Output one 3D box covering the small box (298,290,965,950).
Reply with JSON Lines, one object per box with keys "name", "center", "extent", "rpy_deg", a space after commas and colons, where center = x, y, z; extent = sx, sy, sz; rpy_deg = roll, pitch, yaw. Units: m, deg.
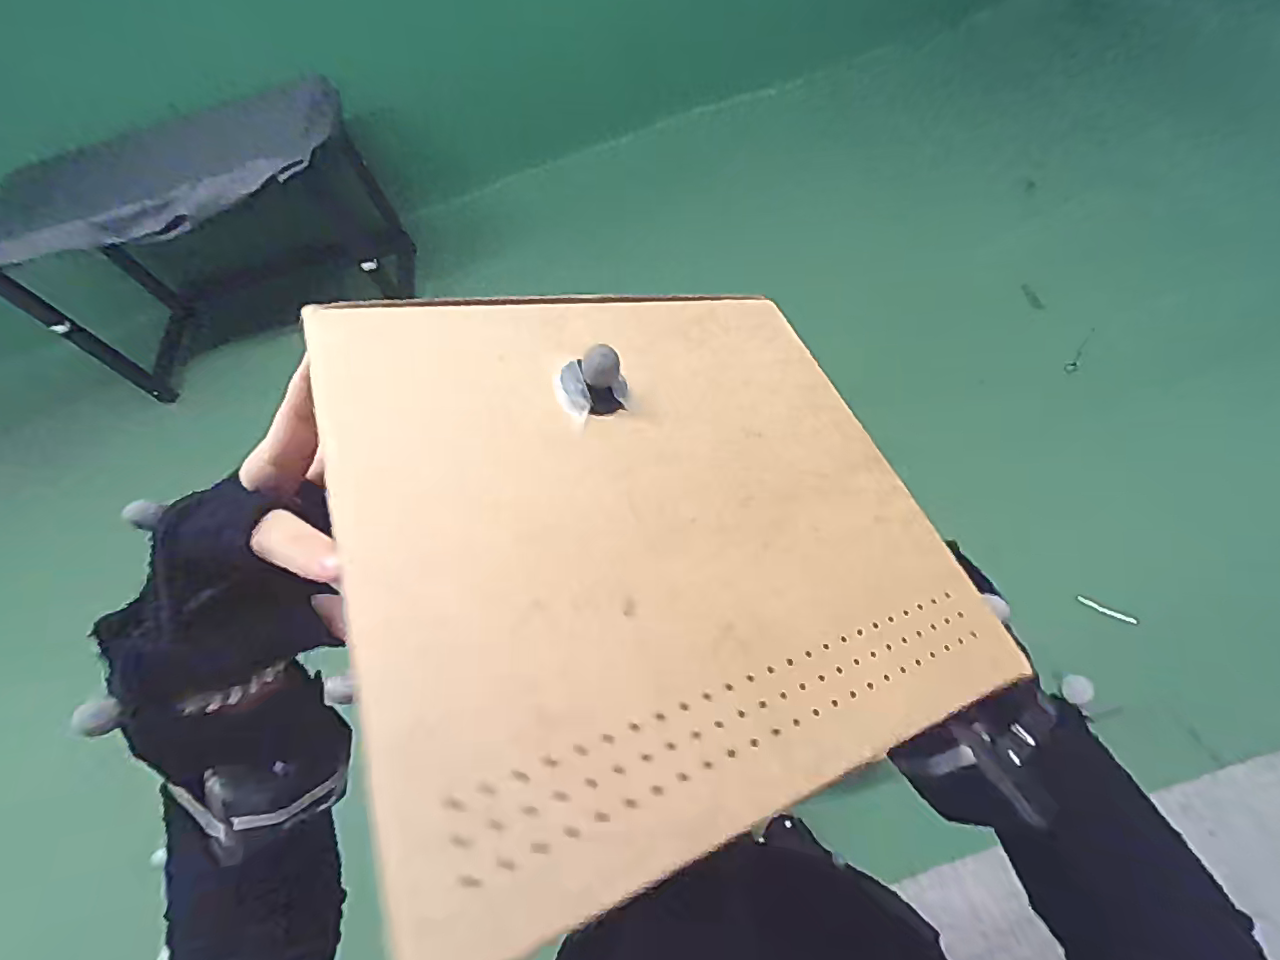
{"name": "small box", "center": [-0.016, 0.046, 0.226], "extent": [0.179, 0.168, 0.176], "rpy_deg": [-12, 64, -27]}
